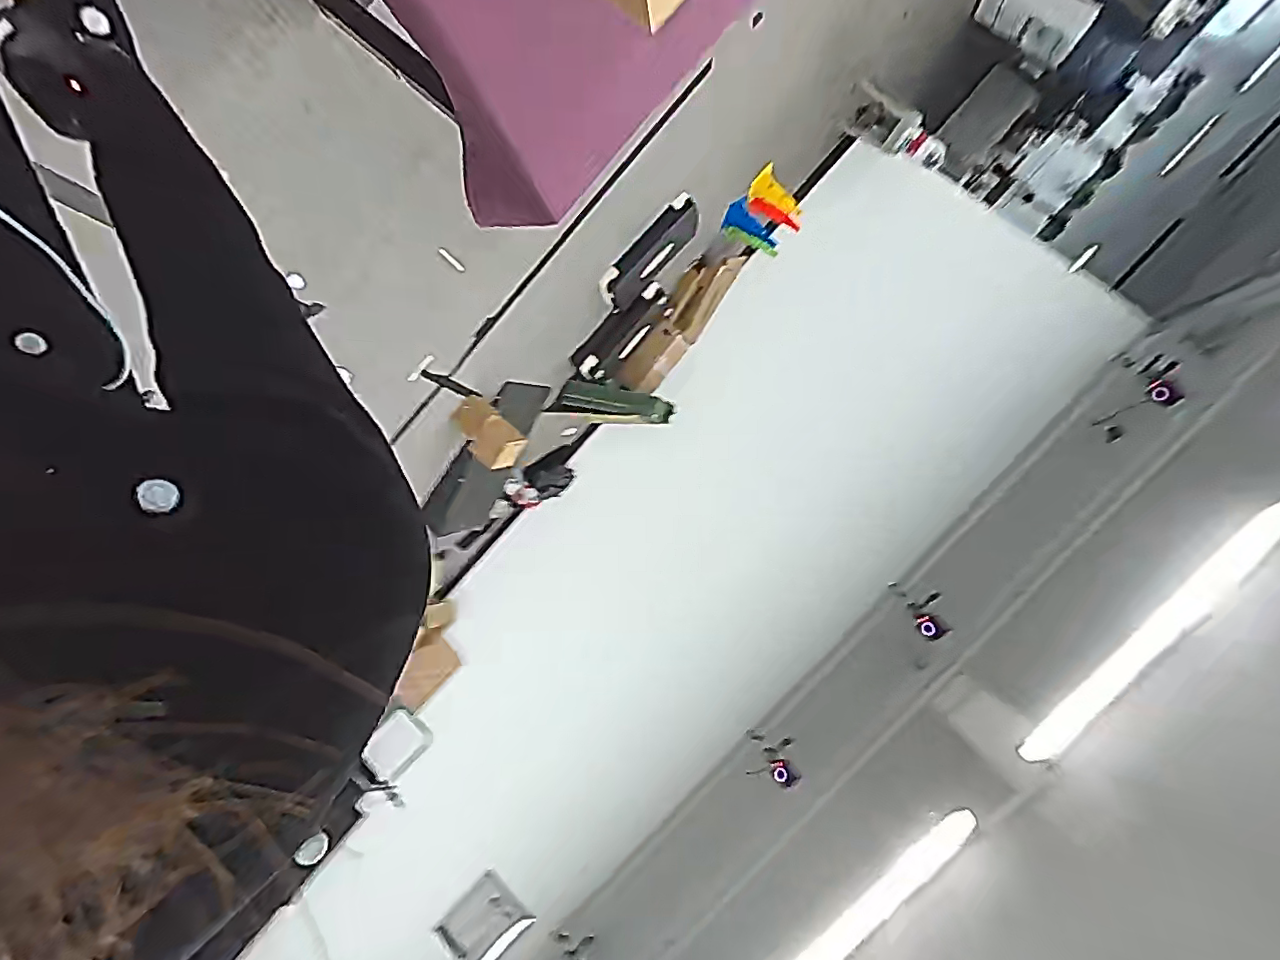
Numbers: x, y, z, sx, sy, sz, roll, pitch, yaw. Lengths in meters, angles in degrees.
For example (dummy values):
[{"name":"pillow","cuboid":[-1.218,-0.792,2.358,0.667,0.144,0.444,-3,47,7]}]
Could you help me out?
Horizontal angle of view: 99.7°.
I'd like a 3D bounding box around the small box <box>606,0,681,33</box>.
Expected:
[{"name":"small box","cuboid":[-0.005,-0.654,0.575,0.168,0.176,0.179,-47,169,1]}]
